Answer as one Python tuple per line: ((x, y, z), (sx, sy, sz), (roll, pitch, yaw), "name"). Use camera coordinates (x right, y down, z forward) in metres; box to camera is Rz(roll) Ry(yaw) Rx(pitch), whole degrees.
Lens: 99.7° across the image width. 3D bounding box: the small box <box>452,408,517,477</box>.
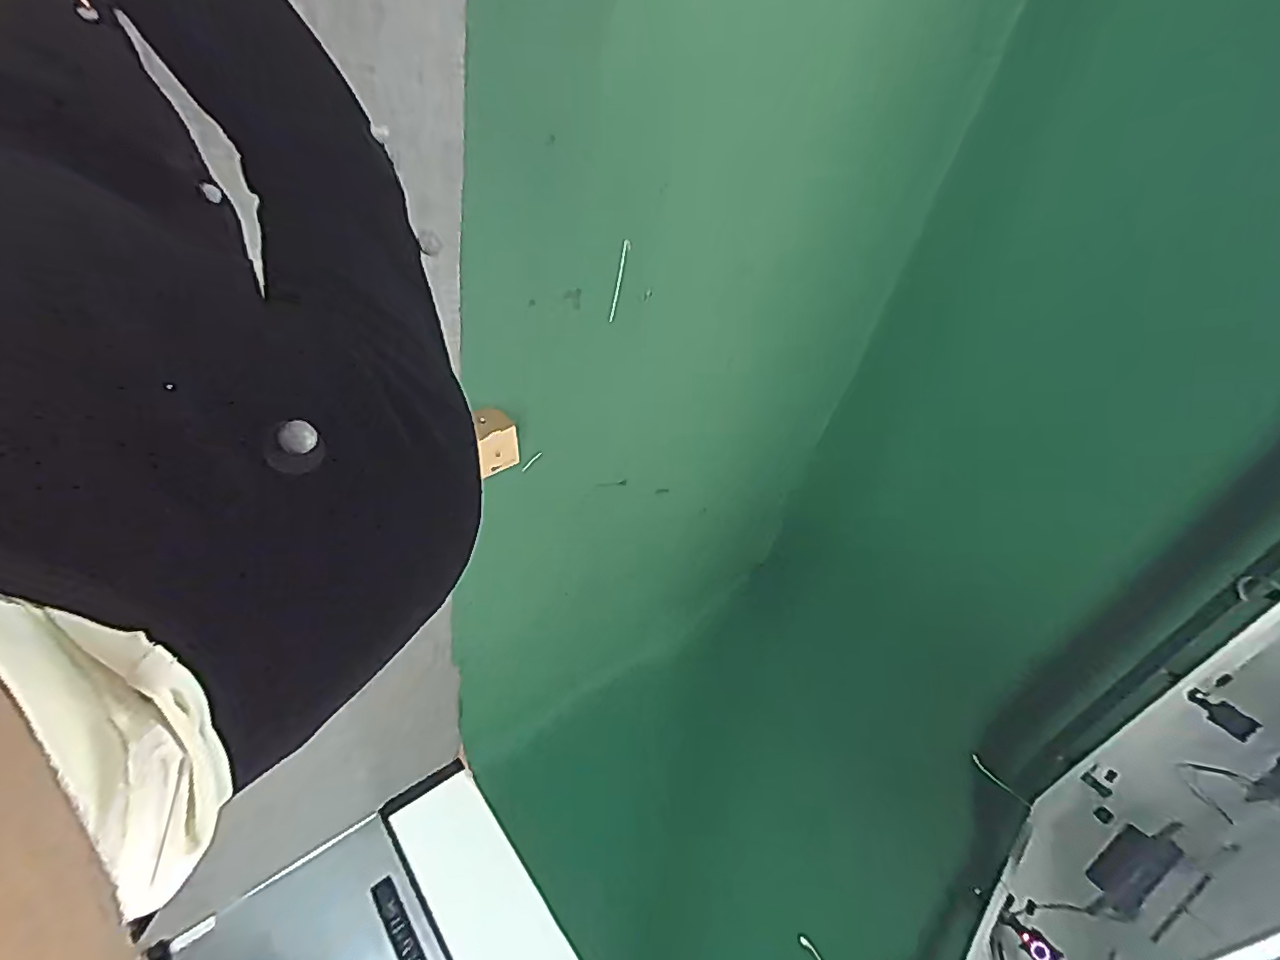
((-0.573, -0.146, 1.986), (0.168, 0.176, 0.179), (-28, 140, -32), "small box")
